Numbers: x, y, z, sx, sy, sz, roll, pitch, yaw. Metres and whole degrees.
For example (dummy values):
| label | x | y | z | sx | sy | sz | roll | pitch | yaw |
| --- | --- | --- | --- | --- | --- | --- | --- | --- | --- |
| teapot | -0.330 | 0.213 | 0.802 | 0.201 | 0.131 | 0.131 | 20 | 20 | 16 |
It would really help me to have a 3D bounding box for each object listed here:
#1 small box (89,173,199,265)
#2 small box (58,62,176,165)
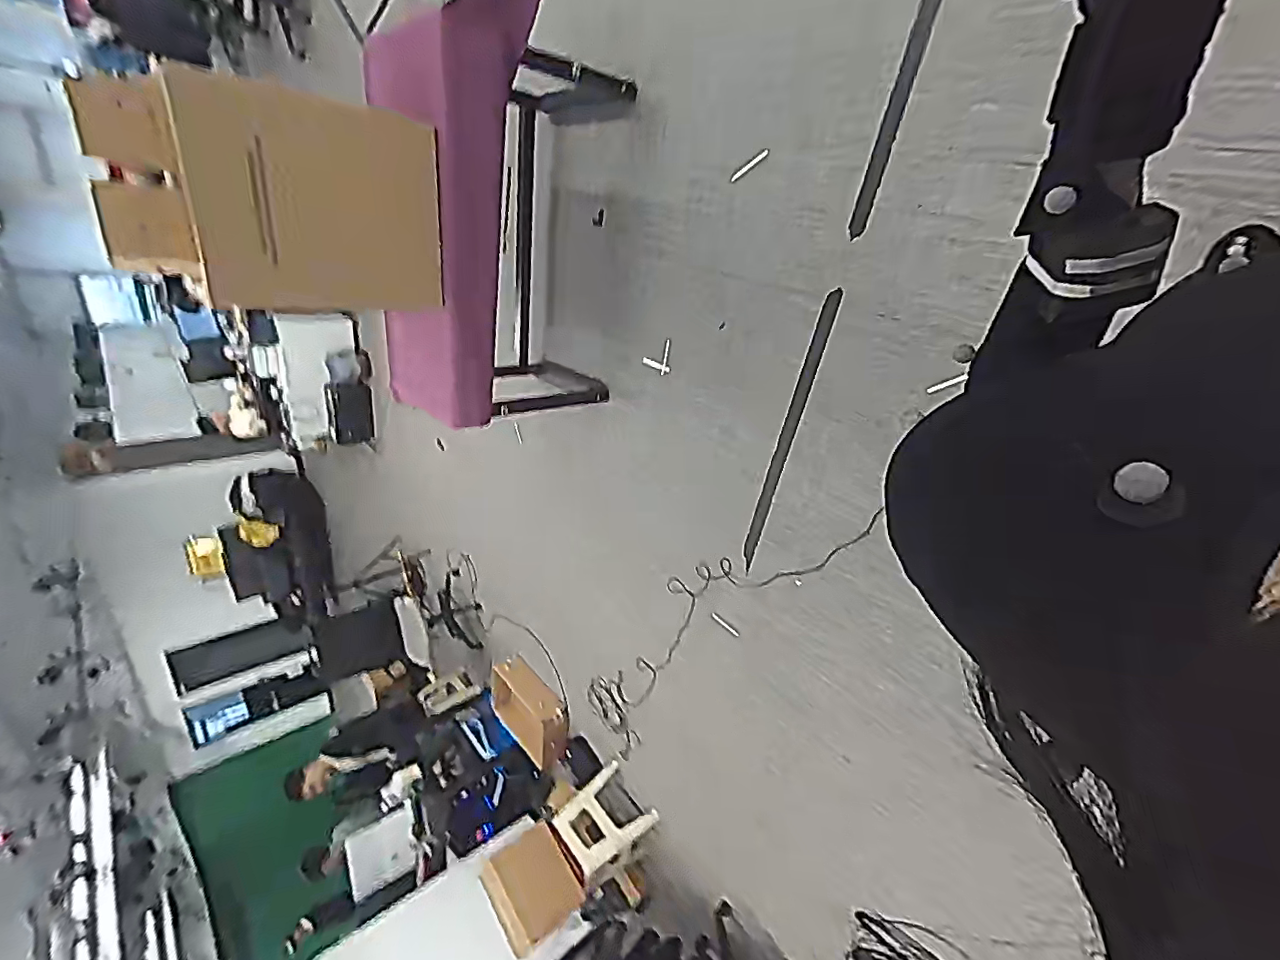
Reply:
| label | x | y | z | sx | sy | sz | roll | pitch | yaw |
| --- | --- | --- | --- | --- | --- | --- | --- | --- | --- |
| small box | -1.230 | -0.639 | 1.348 | 0.168 | 0.176 | 0.179 | 10 | 108 | 45 |
| small box | -1.217 | -0.847 | 1.267 | 0.179 | 0.176 | 0.168 | 28 | 121 | 41 |
